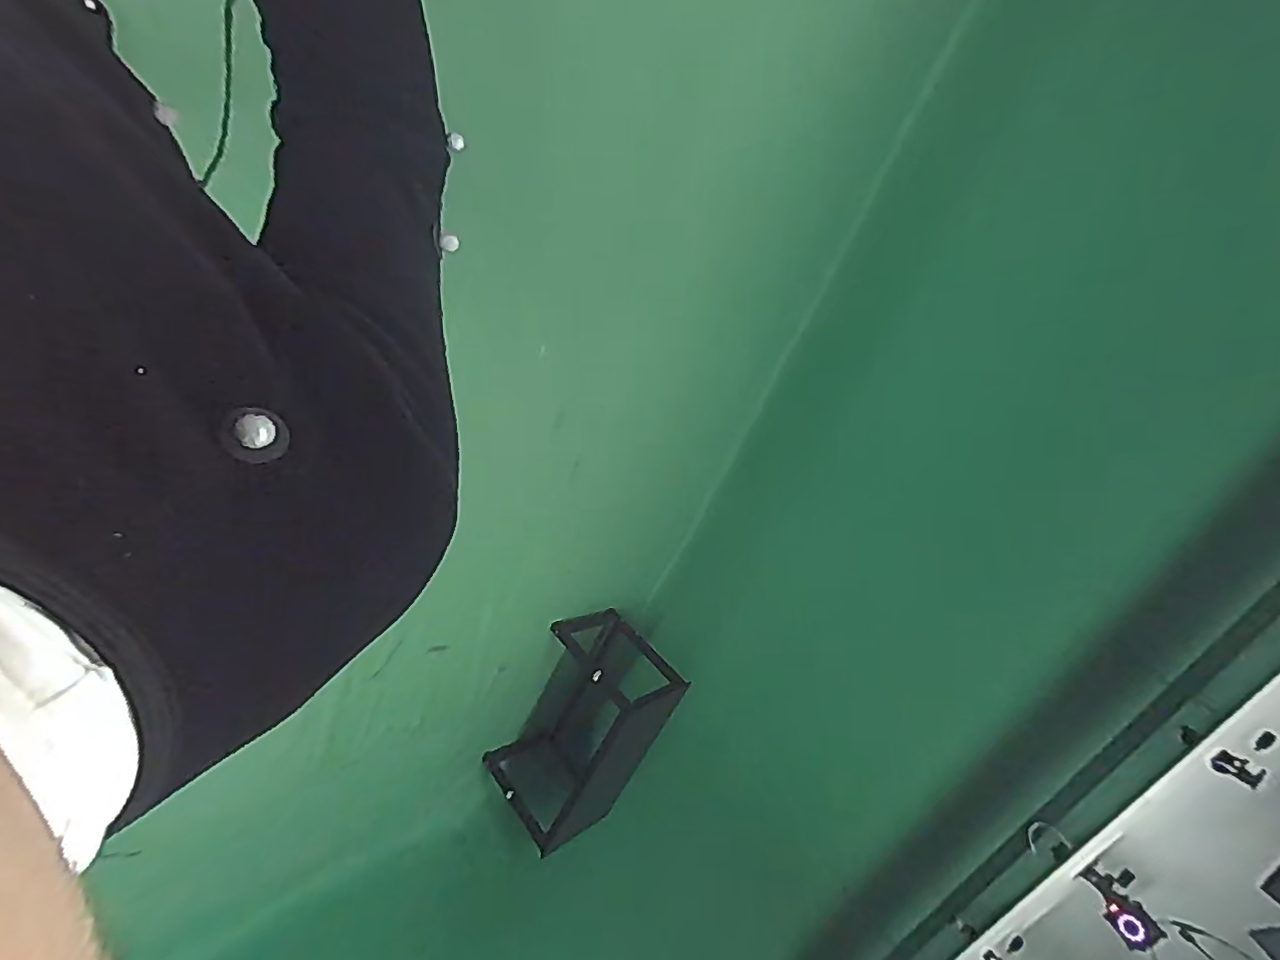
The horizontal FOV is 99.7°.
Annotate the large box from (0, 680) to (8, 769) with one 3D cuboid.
[{"bbox_3d":[-1.773,0.602,1.185,0.408,0.320,0.320,-34,145,-28],"label":"large box"}]
